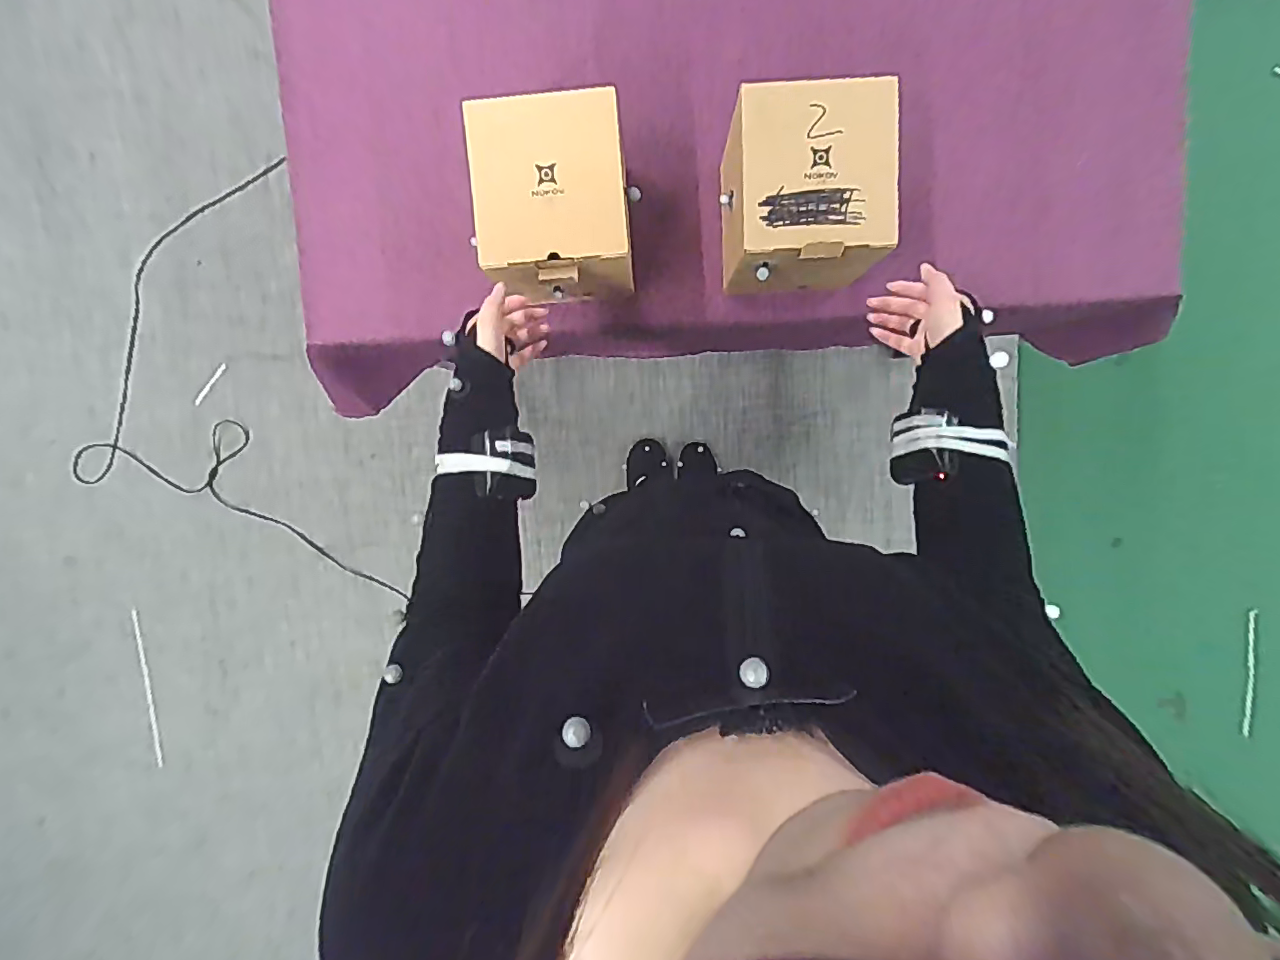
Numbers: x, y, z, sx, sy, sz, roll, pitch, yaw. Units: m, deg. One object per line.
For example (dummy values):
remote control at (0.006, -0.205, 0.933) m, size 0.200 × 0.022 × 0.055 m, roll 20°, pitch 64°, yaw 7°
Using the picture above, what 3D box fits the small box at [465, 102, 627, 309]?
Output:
small box at (-0.105, -0.328, 0.677) m, size 0.168 × 0.176 × 0.179 m, roll -5°, pitch 95°, yaw 1°
